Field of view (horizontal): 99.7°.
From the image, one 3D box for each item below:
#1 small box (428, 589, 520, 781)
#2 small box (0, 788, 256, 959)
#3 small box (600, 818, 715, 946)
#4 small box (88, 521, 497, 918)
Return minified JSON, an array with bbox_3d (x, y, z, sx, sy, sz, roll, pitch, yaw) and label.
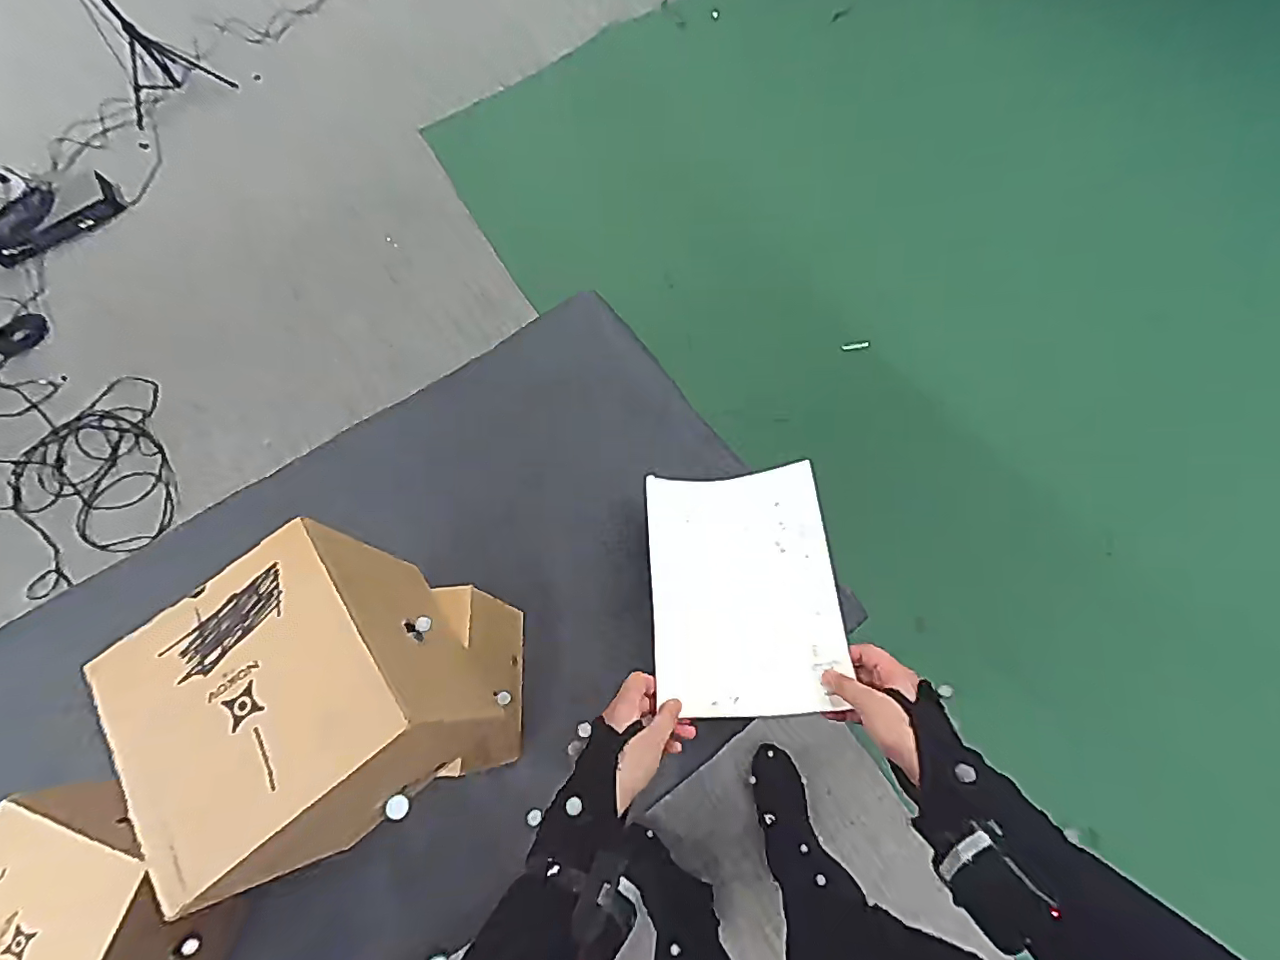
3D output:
[{"bbox_3d":[-0.233,0.216,0.571,0.179,0.176,0.168,-6,68,5],"label":"small box"},{"bbox_3d":[-0.512,0.412,0.525,0.179,0.176,0.168,13,70,11],"label":"small box"},{"bbox_3d":[0.037,0.802,1.075,0.176,0.168,0.179,21,44,-16],"label":"small box"},{"bbox_3d":[-0.242,0.166,0.414,0.168,0.176,0.179,-38,69,-8],"label":"small box"}]
